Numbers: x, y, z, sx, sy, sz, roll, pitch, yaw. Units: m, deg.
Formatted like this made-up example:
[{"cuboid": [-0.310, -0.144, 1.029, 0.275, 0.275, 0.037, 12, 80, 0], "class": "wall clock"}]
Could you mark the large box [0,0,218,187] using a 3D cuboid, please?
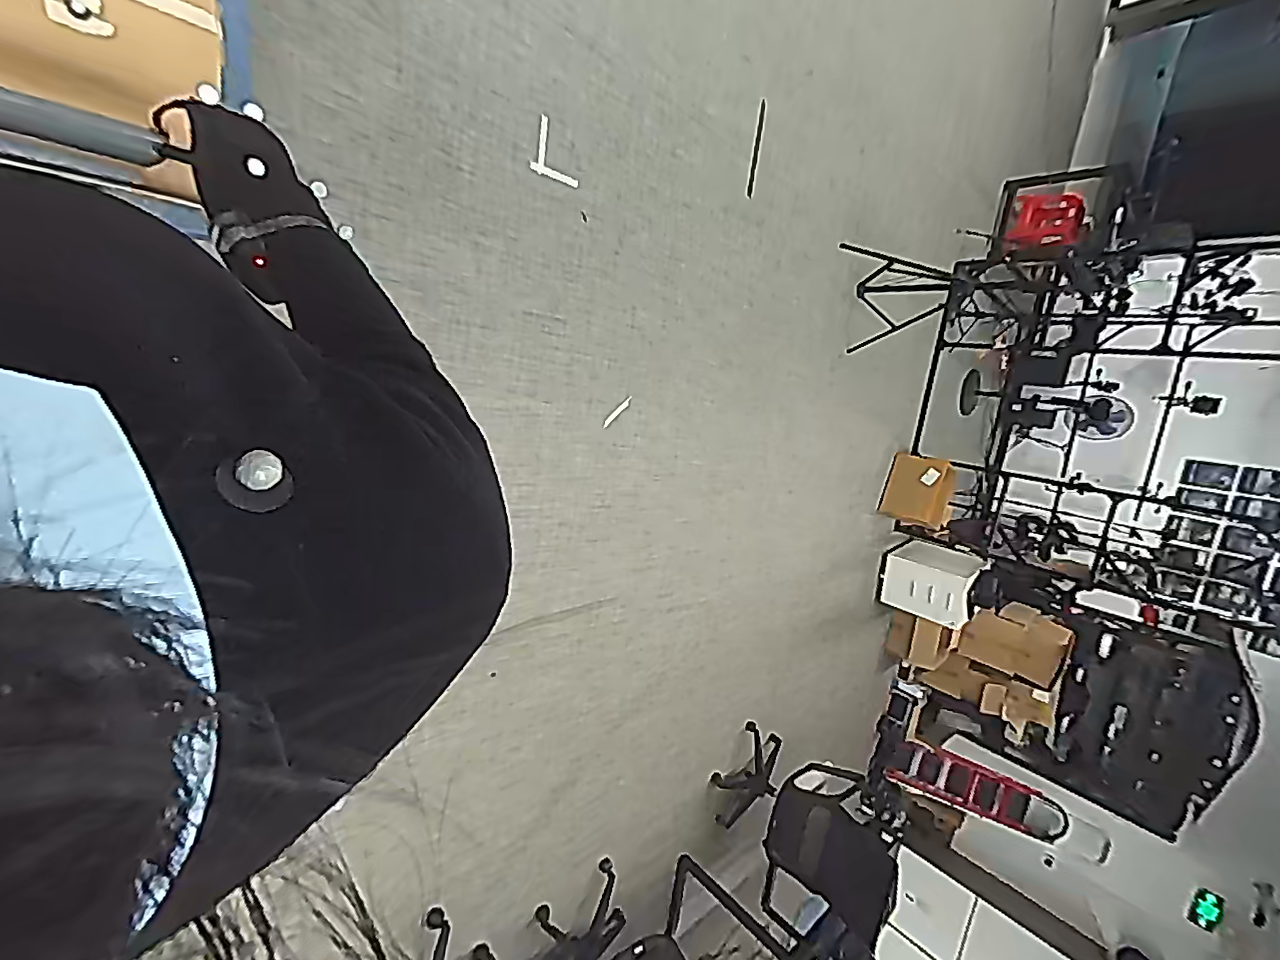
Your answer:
[{"cuboid": [-0.827, -0.624, 0.698, 0.408, 0.320, 0.320, -5, 106, -44], "class": "large box"}]
